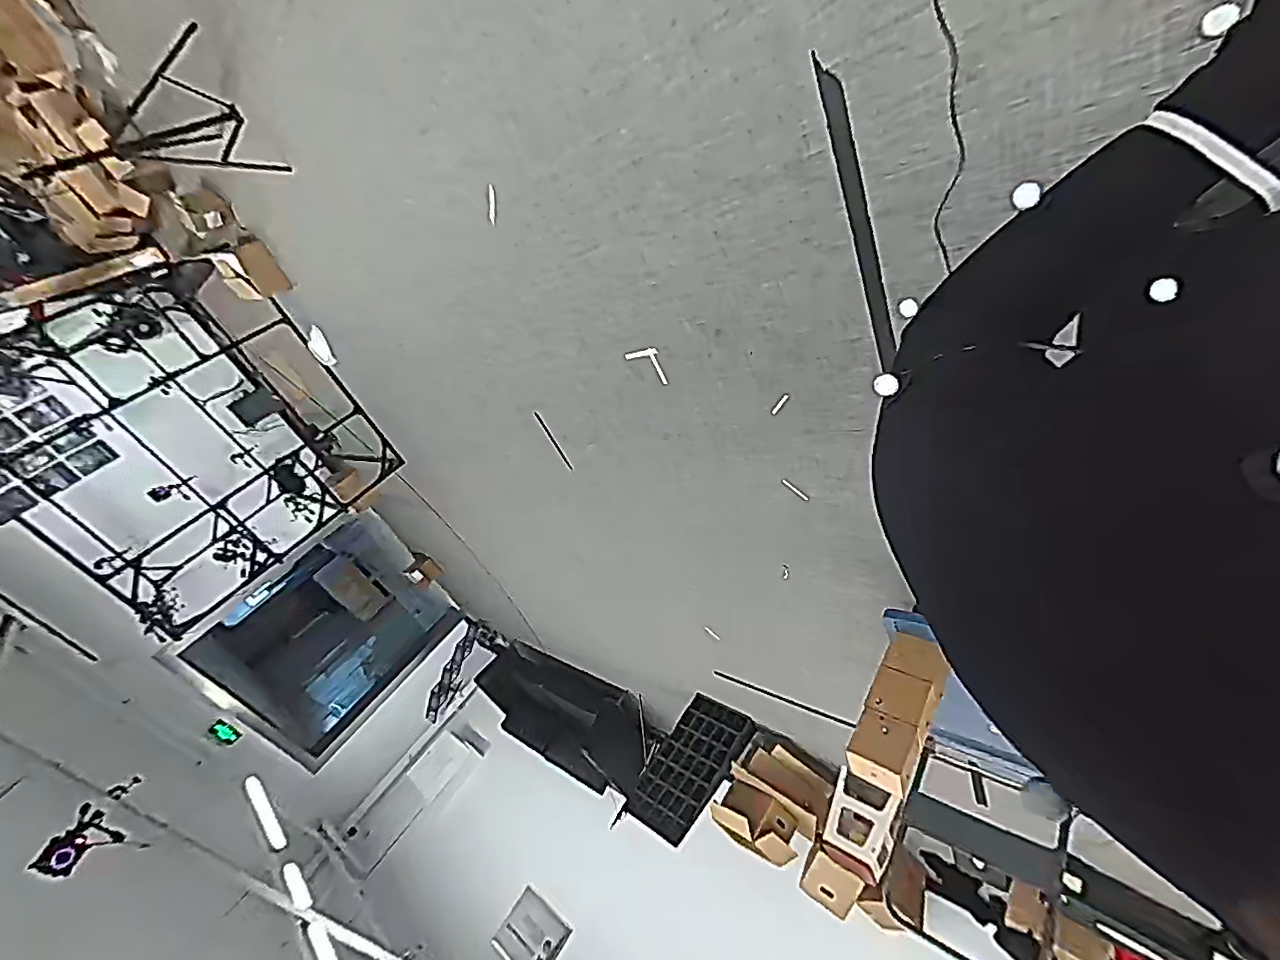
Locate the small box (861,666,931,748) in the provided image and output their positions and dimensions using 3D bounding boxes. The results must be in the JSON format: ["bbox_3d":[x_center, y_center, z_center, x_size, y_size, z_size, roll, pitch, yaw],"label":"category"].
[{"bbox_3d":[0.880,0.767,1.844,0.179,0.176,0.168,11,138,42],"label":"small box"}]

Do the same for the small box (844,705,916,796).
[{"bbox_3d":[0.786,0.876,1.762,0.168,0.176,0.179,12,139,40],"label":"small box"}]
